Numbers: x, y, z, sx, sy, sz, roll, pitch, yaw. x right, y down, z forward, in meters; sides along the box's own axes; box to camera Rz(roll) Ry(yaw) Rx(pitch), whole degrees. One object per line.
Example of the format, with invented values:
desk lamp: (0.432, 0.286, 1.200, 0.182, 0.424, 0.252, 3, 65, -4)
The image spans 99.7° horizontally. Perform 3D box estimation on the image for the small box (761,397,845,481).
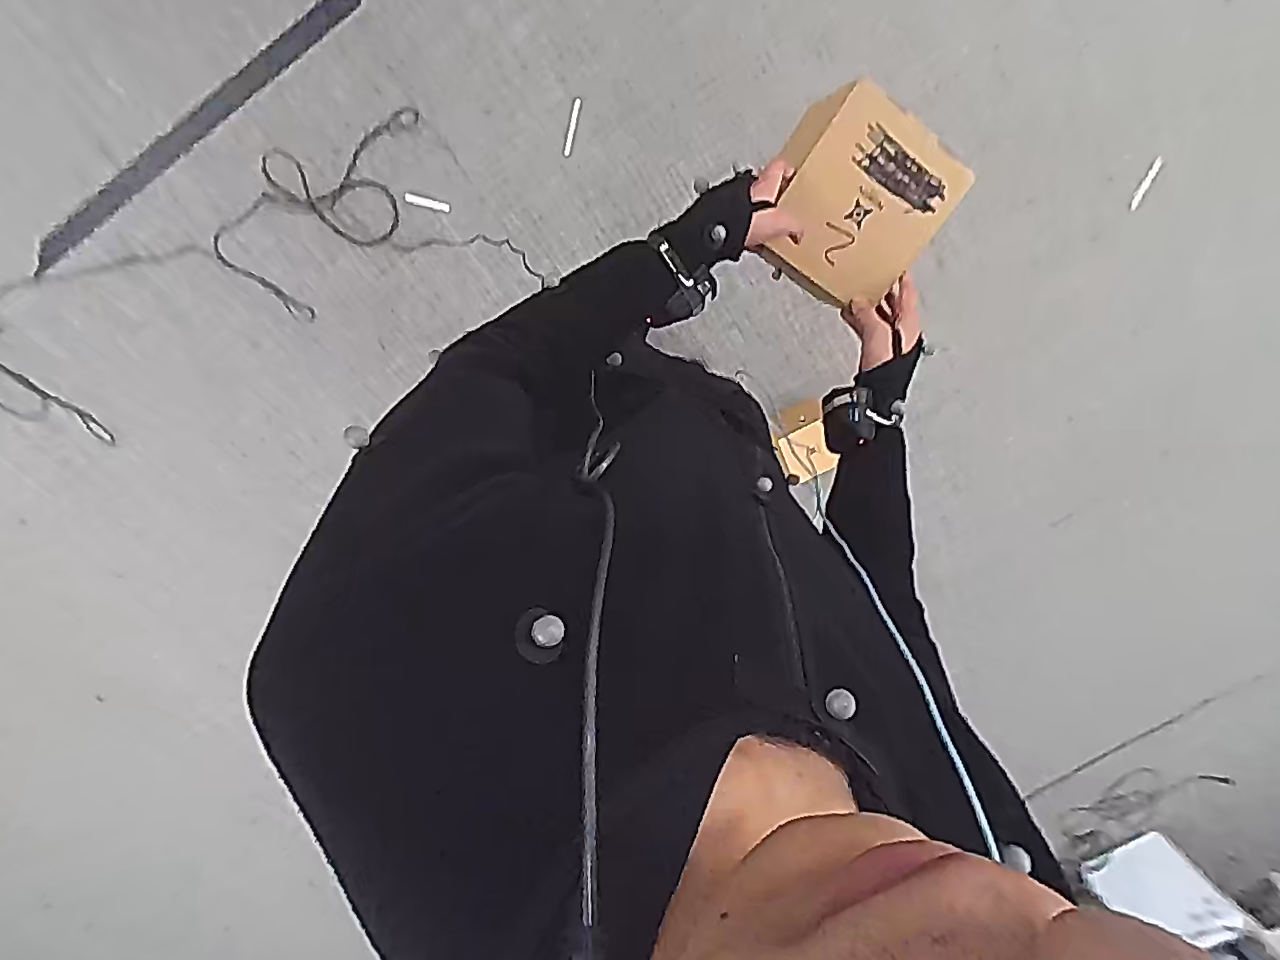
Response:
small box: (0.484, -0.128, 1.638, 0.179, 0.176, 0.168, -27, 115, 4)
